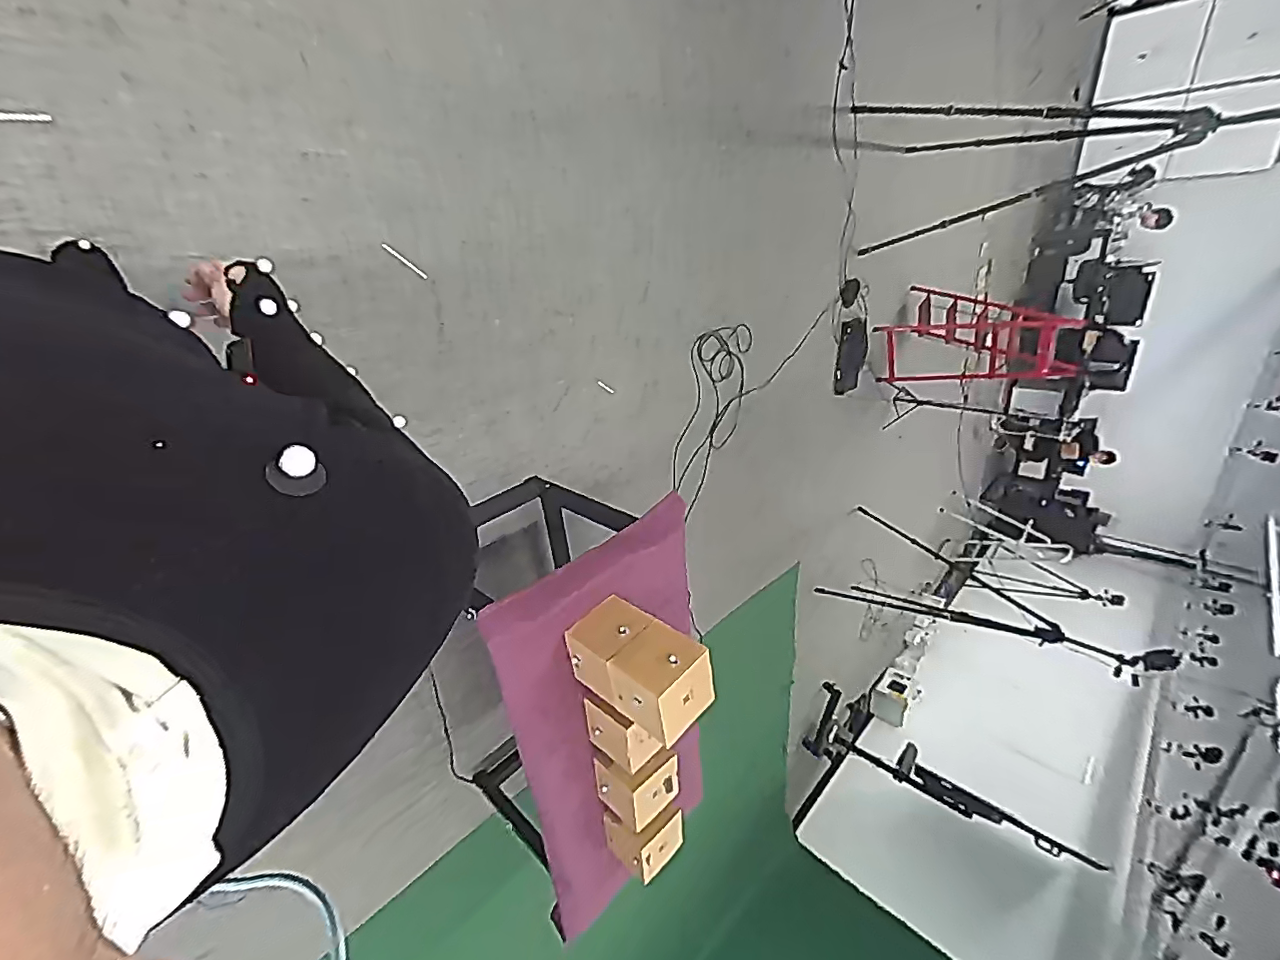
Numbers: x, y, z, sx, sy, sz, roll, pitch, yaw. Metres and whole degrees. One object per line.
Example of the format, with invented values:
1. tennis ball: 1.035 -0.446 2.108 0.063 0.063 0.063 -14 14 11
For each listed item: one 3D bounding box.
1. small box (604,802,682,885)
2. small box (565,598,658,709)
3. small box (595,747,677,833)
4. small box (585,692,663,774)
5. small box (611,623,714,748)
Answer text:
1. small box: 0.011 1.085 1.681 0.179 0.176 0.168 -25 120 -40
2. small box: -0.063 0.429 1.369 0.179 0.176 0.168 -31 124 -35
3. small box: -0.010 0.863 1.580 0.179 0.176 0.168 -24 120 -39
4. small box: -0.026 0.648 1.484 0.179 0.176 0.168 -26 121 -39
5. small box: 0.049 0.470 1.258 0.179 0.176 0.168 -32 125 -36
